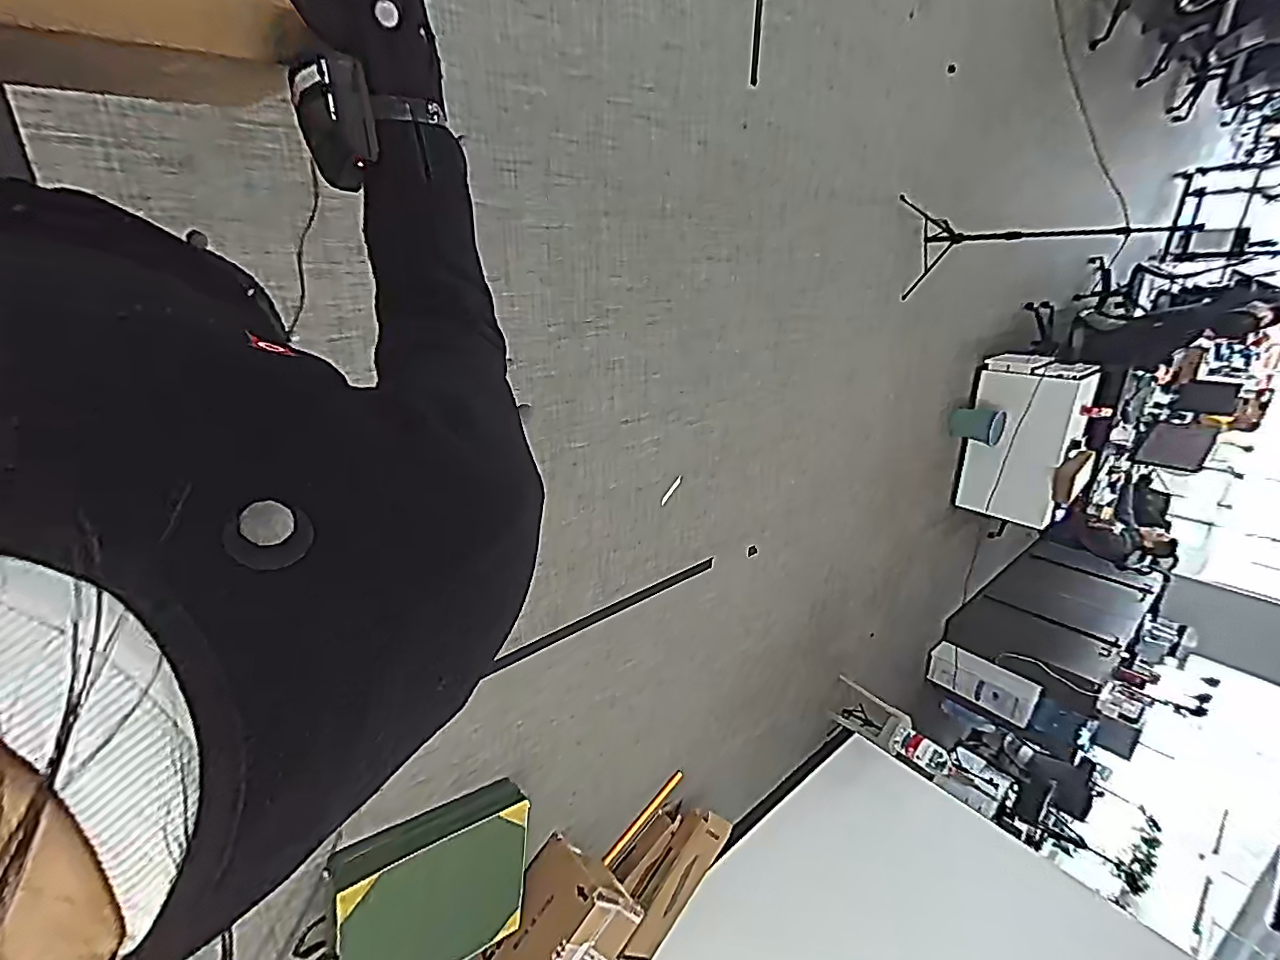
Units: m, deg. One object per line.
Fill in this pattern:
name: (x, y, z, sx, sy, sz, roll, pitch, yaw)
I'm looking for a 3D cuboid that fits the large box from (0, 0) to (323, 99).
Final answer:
large box: (-0.452, -0.406, 0.267, 0.408, 0.320, 0.320, -21, 127, -36)
